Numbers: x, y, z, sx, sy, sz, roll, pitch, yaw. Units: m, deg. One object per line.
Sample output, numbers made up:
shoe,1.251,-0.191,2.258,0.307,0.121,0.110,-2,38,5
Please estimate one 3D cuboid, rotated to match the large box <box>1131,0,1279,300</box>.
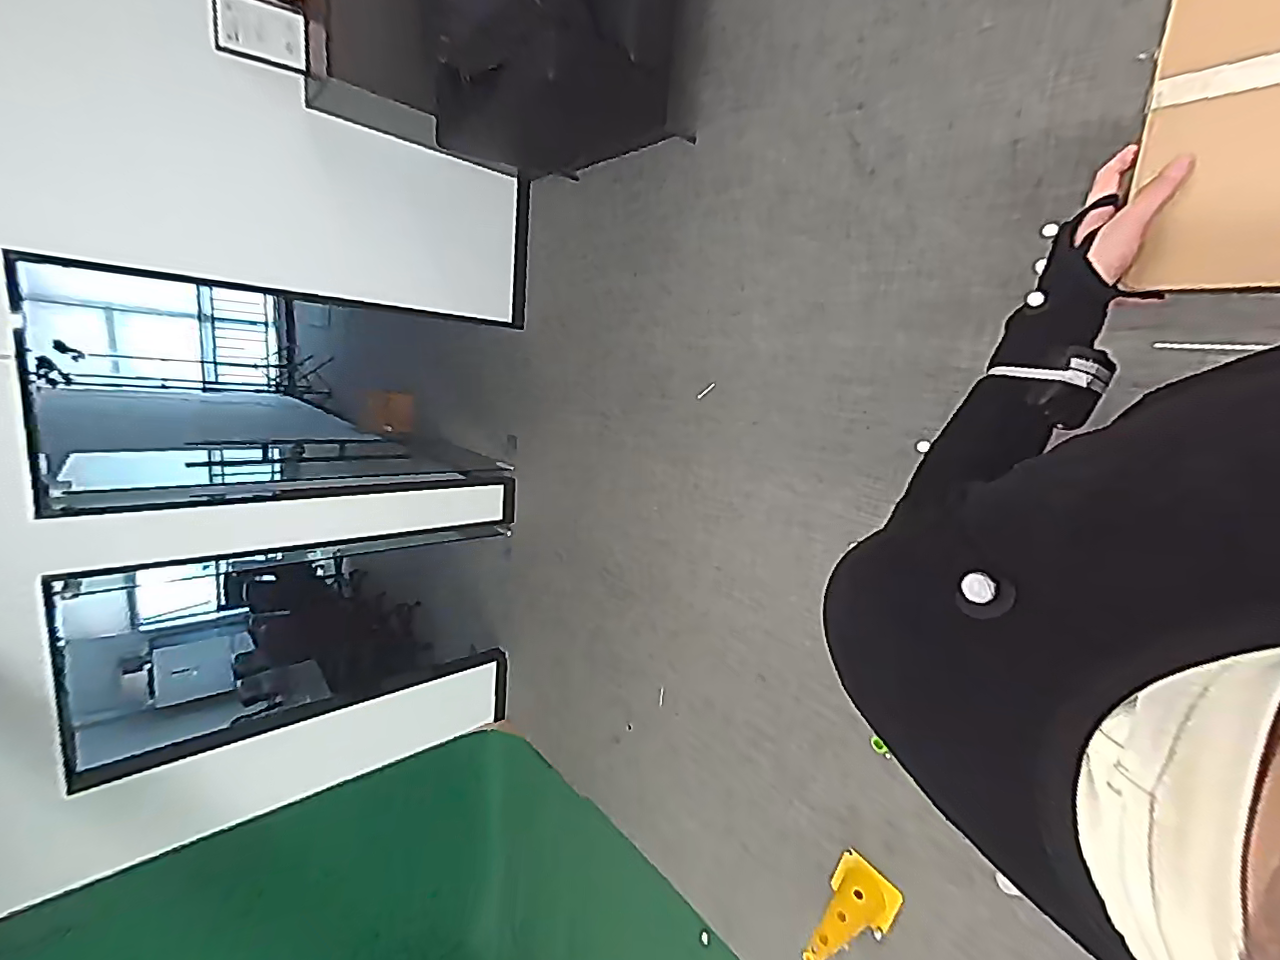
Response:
large box,0.690,-0.315,0.418,0.408,0.320,0.320,16,114,45
